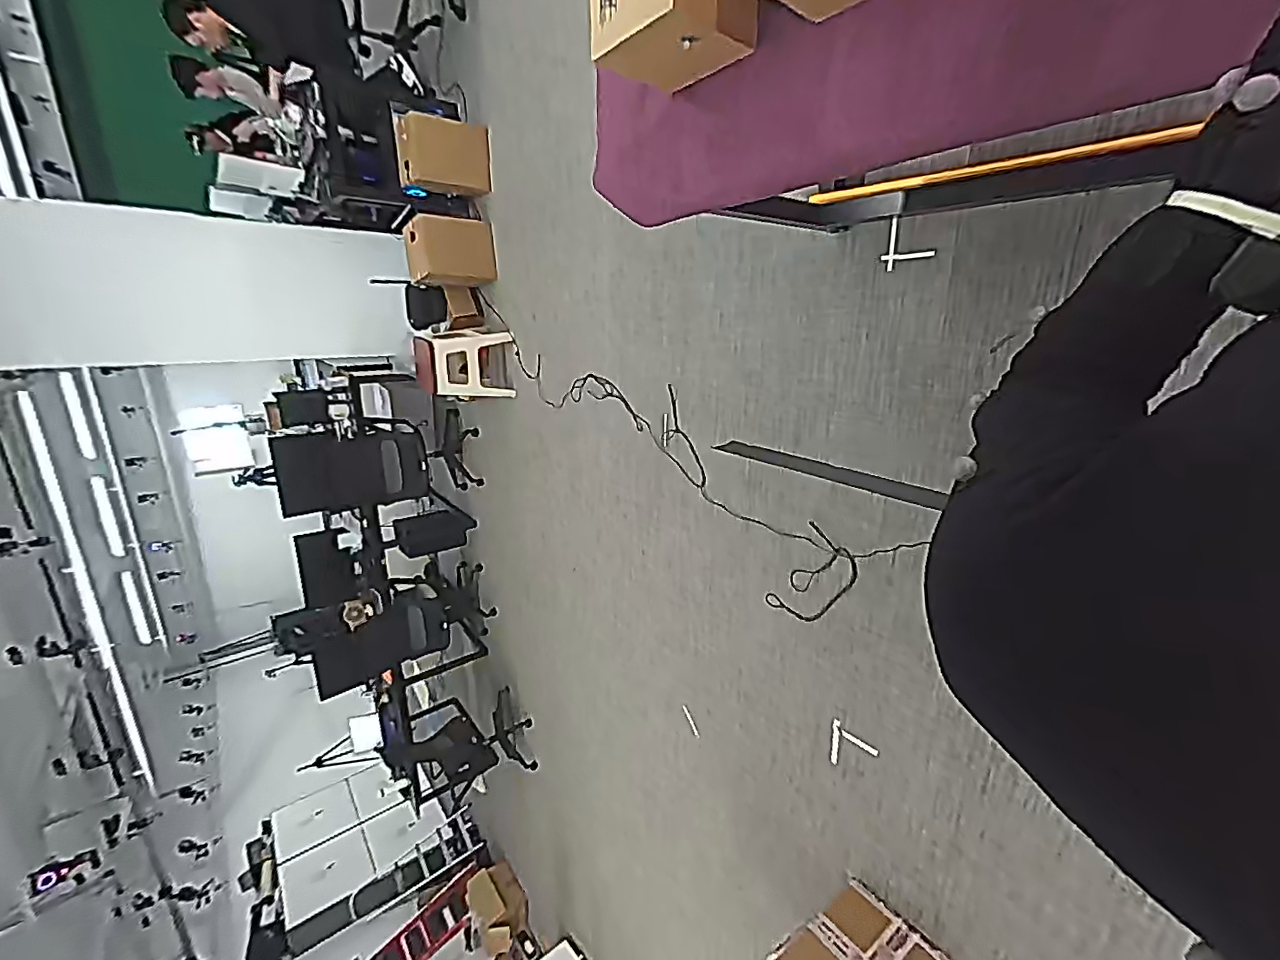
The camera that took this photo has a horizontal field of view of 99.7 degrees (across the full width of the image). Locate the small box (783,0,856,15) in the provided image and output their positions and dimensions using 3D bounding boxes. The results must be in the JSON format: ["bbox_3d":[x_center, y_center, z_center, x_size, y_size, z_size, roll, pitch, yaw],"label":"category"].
[{"bbox_3d":[0.216,-0.632,0.557,0.179,0.176,0.168,21,117,50],"label":"small box"}]
